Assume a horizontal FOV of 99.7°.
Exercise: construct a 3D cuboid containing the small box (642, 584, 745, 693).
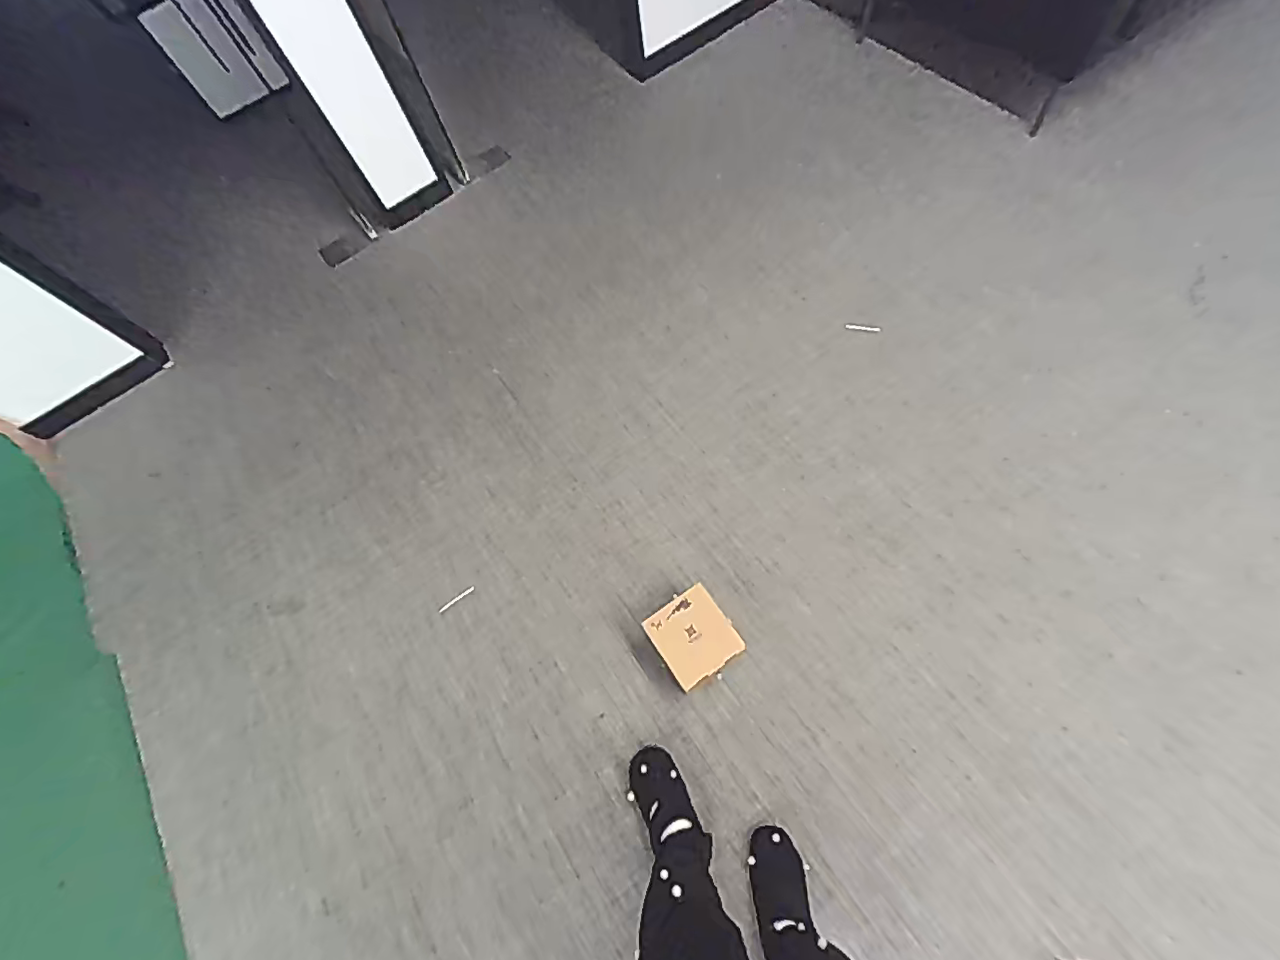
[{"bbox_3d":[0.126,0.372,1.258,0.168,0.176,0.179,-33,66,-7],"label":"small box"}]
